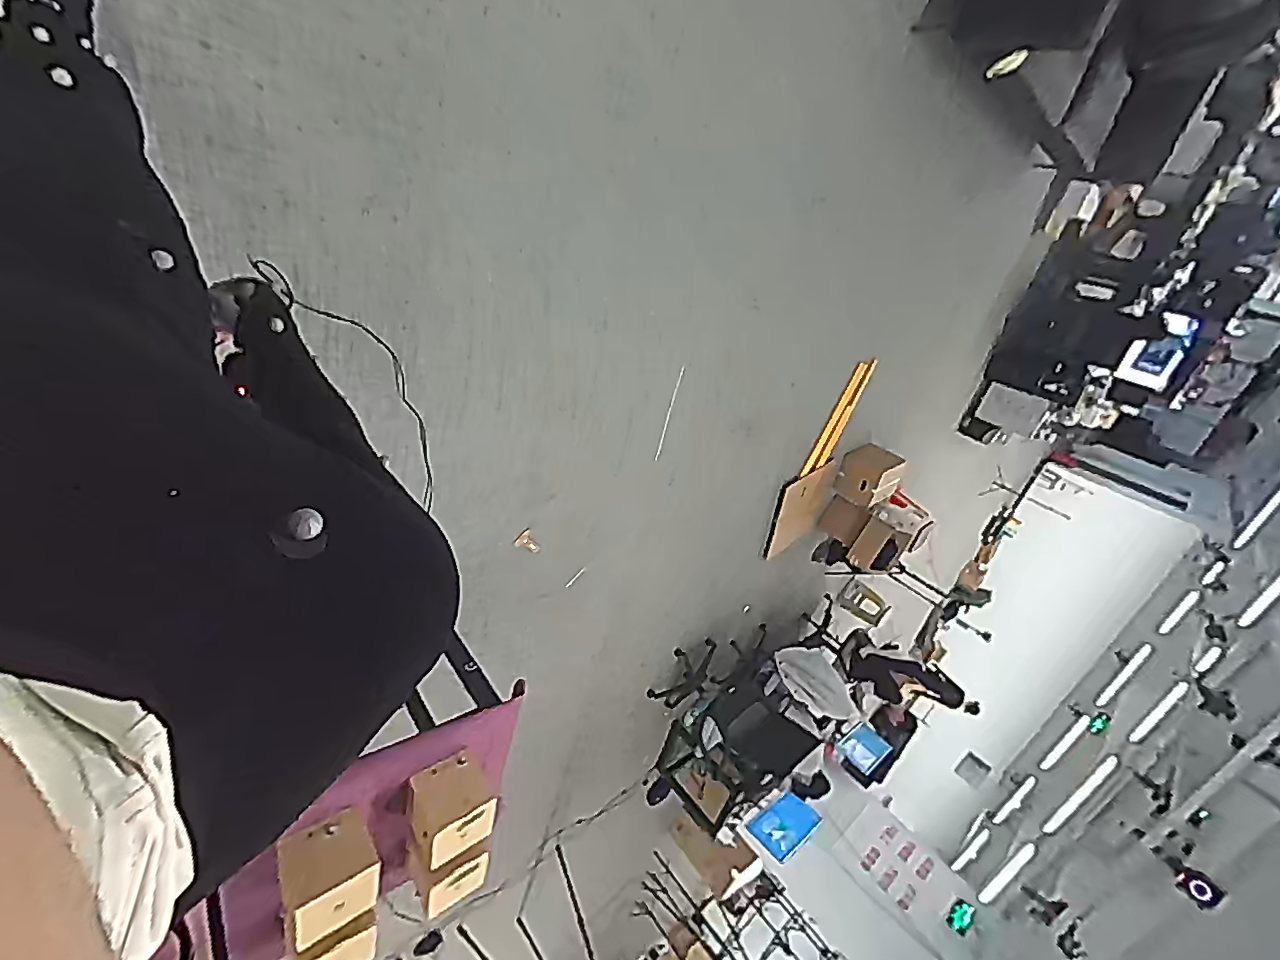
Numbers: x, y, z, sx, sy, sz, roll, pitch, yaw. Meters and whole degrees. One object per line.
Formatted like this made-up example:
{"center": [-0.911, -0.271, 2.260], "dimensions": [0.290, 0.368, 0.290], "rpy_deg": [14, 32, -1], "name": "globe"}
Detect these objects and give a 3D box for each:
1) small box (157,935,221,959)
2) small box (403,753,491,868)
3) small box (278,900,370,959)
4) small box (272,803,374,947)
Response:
{"center": [-0.995, 1.139, 1.156], "dimensions": [0.168, 0.176, 0.179], "rpy_deg": [-8, 124, -43], "name": "small box"}
{"center": [-0.511, 0.854, 1.421], "dimensions": [0.168, 0.176, 0.179], "rpy_deg": [-11, 129, -40], "name": "small box"}
{"center": [-0.791, 1.116, 1.350], "dimensions": [0.168, 0.176, 0.179], "rpy_deg": [-9, 124, -41], "name": "small box"}
{"center": [-0.727, 0.892, 1.236], "dimensions": [0.168, 0.176, 0.179], "rpy_deg": [-9, 125, -42], "name": "small box"}
